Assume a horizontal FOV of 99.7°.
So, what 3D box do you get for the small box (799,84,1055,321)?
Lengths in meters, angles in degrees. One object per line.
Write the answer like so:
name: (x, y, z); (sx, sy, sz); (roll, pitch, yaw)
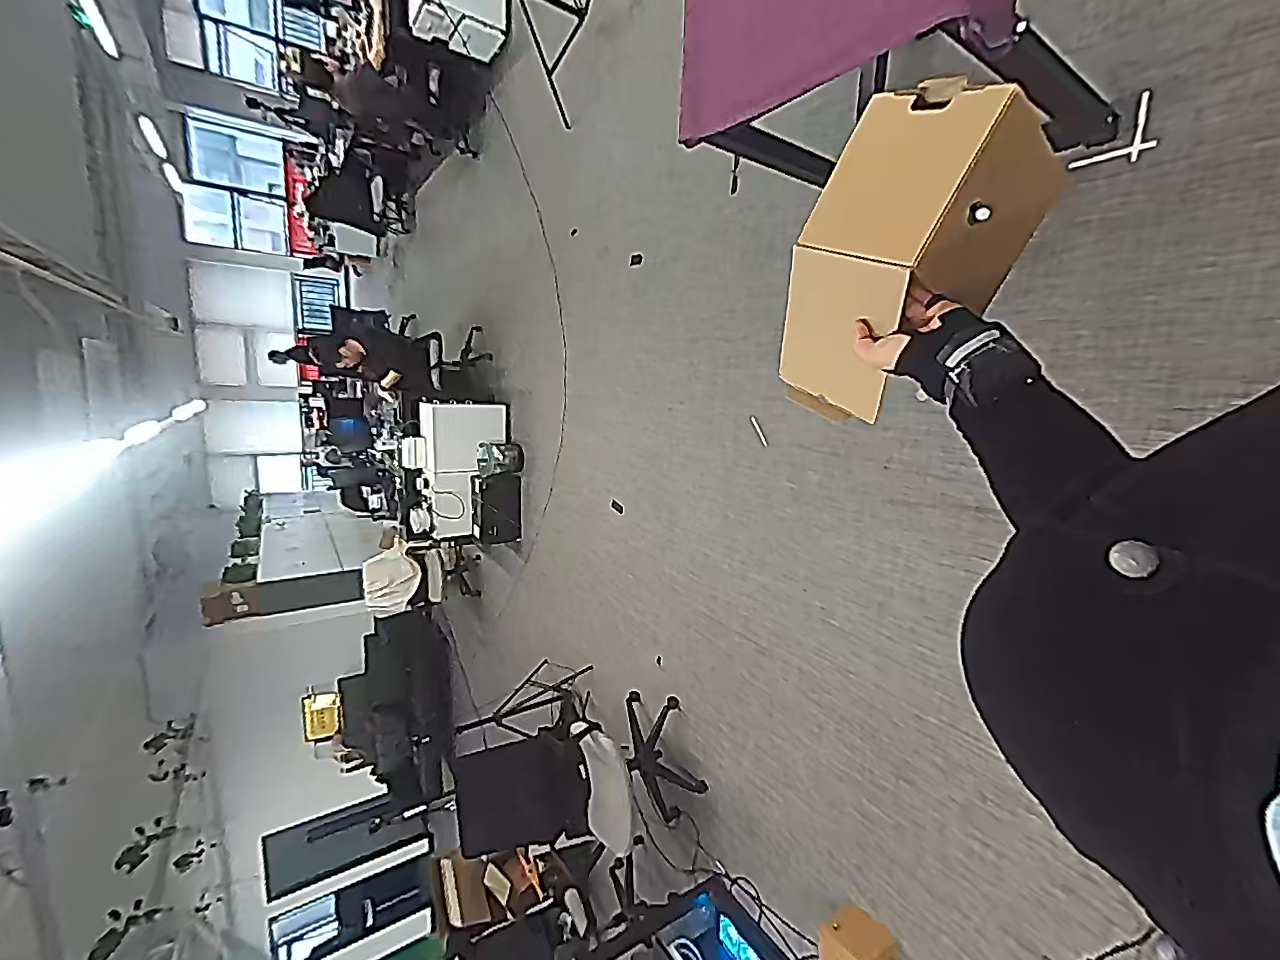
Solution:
small box: (0.326, -0.305, 0.618); (0.168, 0.176, 0.179); (44, 113, 47)
